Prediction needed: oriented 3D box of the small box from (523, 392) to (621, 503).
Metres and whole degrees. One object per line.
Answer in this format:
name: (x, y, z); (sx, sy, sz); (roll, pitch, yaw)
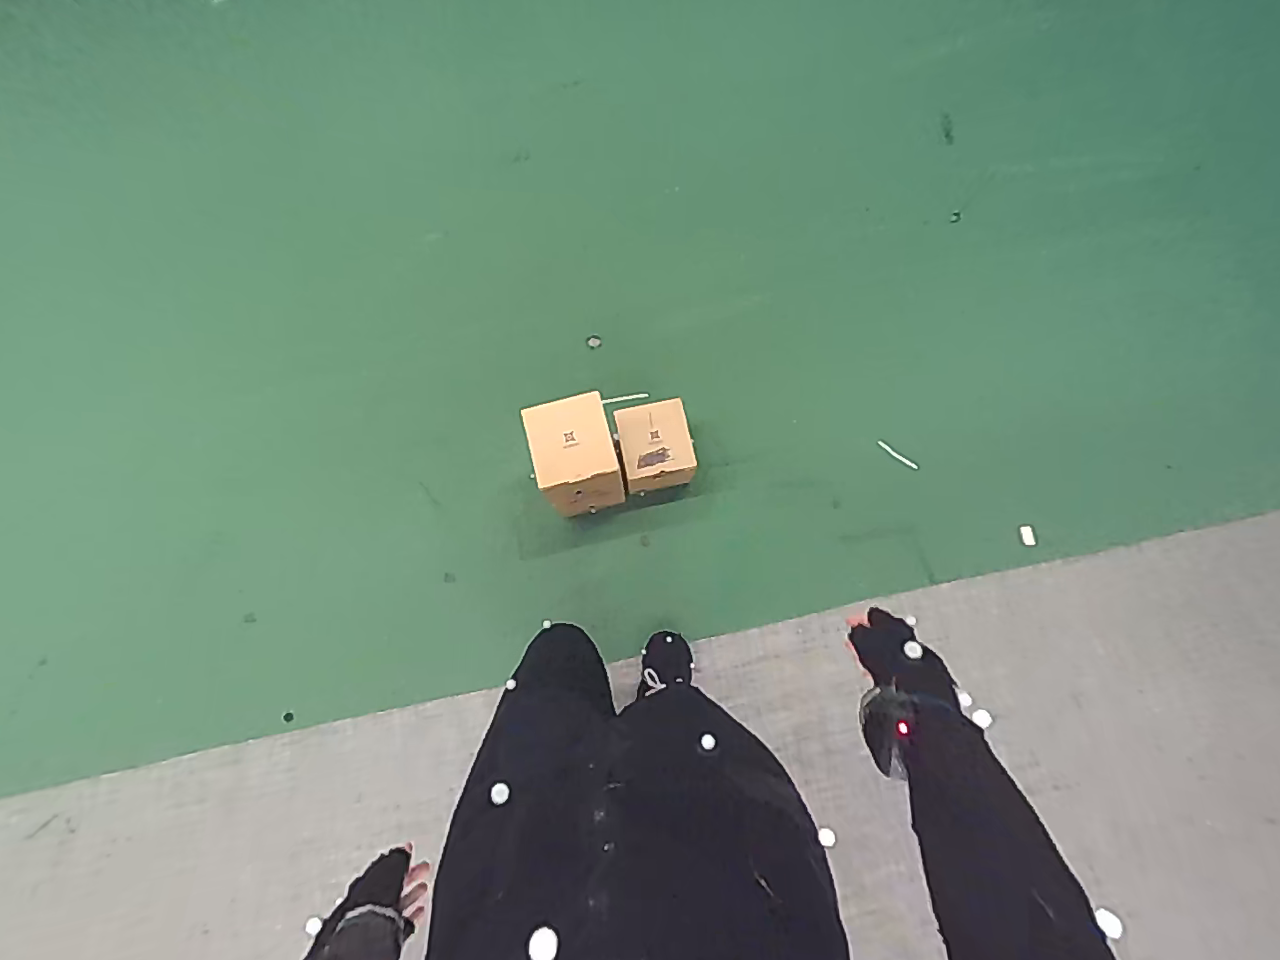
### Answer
small box: (-0.141, -0.063, 1.164); (0.168, 0.176, 0.179); (-15, 79, -4)
